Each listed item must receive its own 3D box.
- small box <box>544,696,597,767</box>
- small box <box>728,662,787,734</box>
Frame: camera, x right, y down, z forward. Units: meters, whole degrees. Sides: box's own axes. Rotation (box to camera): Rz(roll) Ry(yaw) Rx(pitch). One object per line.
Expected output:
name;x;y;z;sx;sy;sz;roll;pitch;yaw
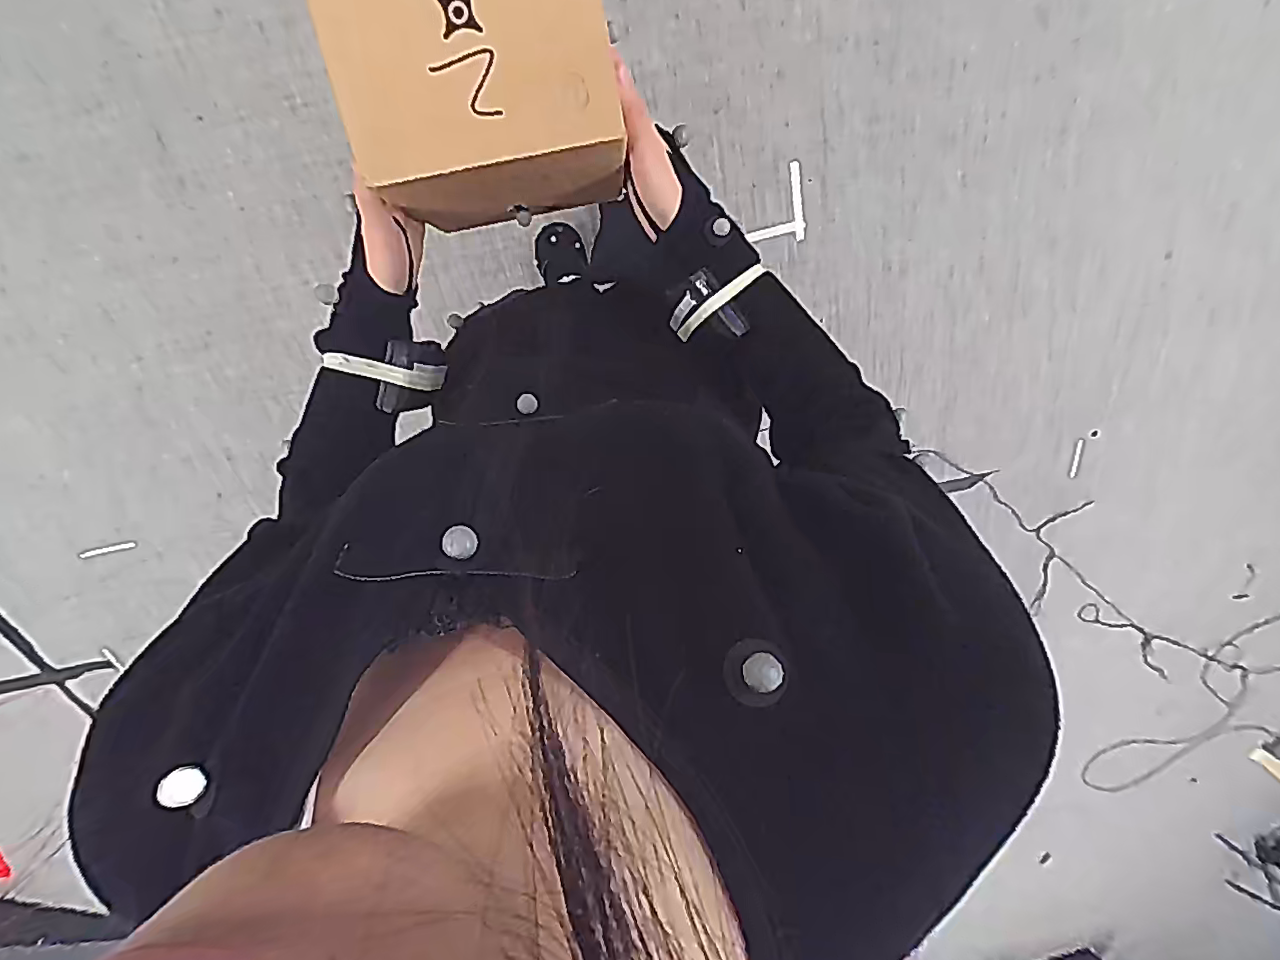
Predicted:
small box;-0.254;0.900;1.946;0.179;0.176;0.168;2;116;-10
small box;0.428;0.789;1.981;0.168;0.176;0.179;-12;119;-2
